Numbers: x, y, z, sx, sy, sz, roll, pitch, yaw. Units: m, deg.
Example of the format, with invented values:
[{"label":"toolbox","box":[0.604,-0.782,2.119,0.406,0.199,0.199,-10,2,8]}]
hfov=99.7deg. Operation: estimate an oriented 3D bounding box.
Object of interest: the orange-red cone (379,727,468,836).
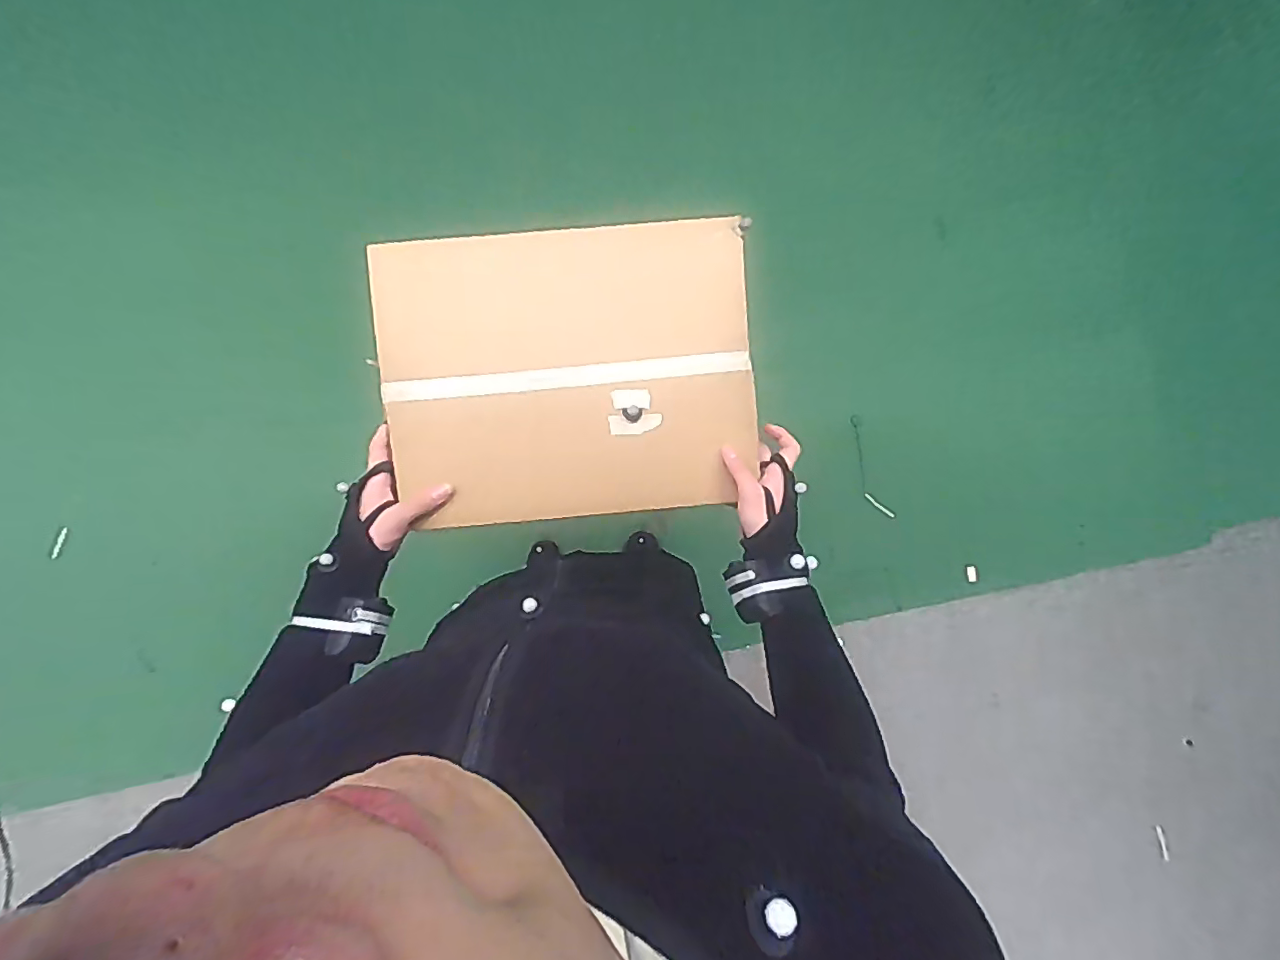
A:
[{"label":"orange-red cone","box":[-0.573,0.784,1.357,0.199,0.360,0.198,-3,83,-5]}]

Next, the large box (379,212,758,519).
[{"label":"large box","box":[-0.081,-0.137,0.751,0.408,0.320,0.320,-5,95,-2]}]
